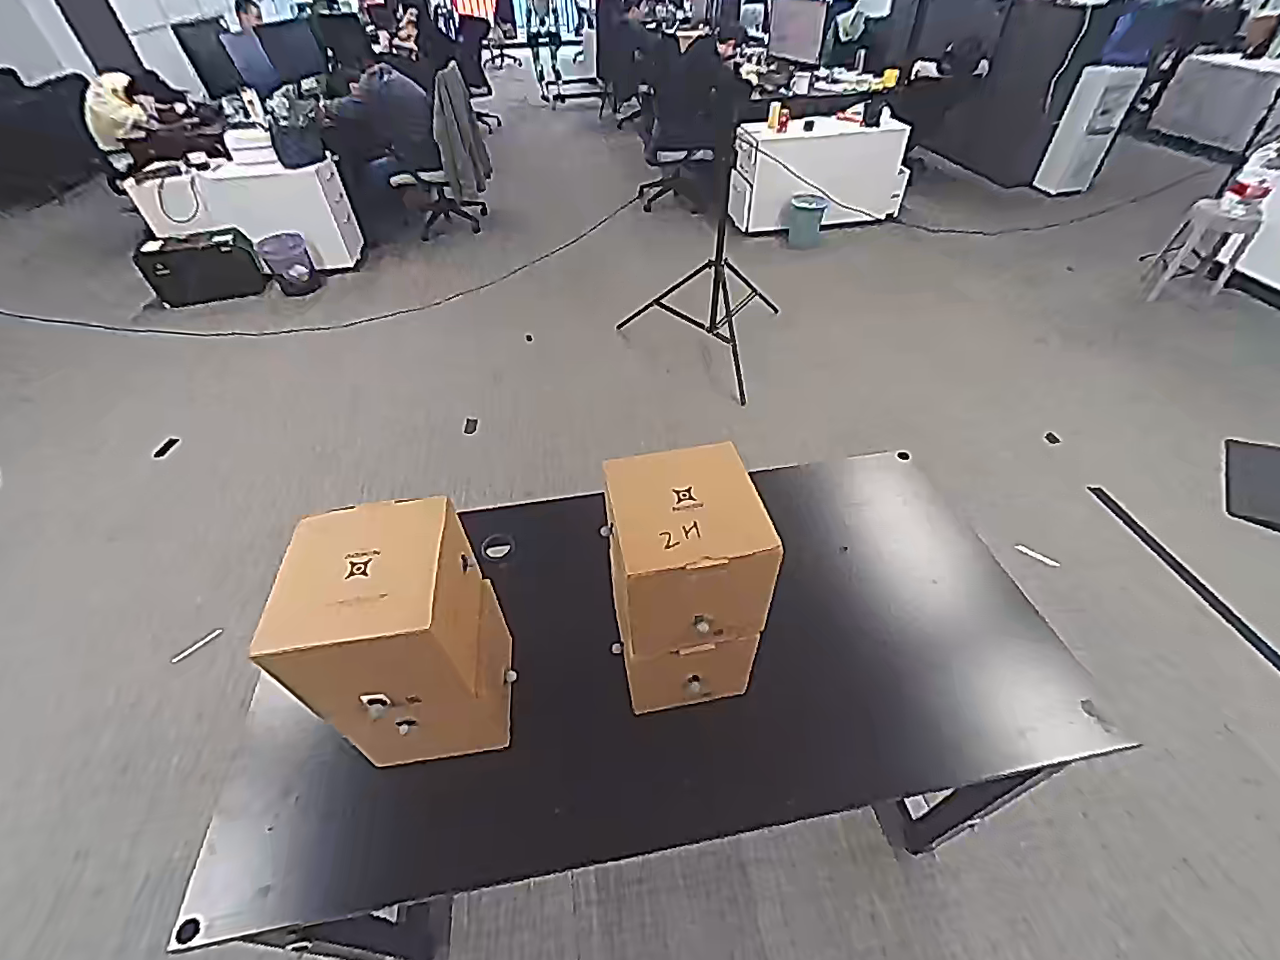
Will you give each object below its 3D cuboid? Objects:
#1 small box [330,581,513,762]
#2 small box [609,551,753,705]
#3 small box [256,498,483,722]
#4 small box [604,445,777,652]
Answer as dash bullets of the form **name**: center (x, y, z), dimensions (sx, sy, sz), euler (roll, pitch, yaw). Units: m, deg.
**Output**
- **small box**: center (-0.278, 0.262, 0.733), dimensions (0.179, 0.176, 0.168), euler (-6, 45, -6)
- **small box**: center (0.052, 0.206, 0.781), dimensions (0.168, 0.176, 0.179), euler (-9, 45, -7)
- **small box**: center (-0.283, 0.147, 0.617), dimensions (0.168, 0.176, 0.179), euler (-9, 46, -5)
- **small box**: center (0.050, 0.083, 0.668), dimensions (0.168, 0.176, 0.179), euler (-9, 45, -6)
